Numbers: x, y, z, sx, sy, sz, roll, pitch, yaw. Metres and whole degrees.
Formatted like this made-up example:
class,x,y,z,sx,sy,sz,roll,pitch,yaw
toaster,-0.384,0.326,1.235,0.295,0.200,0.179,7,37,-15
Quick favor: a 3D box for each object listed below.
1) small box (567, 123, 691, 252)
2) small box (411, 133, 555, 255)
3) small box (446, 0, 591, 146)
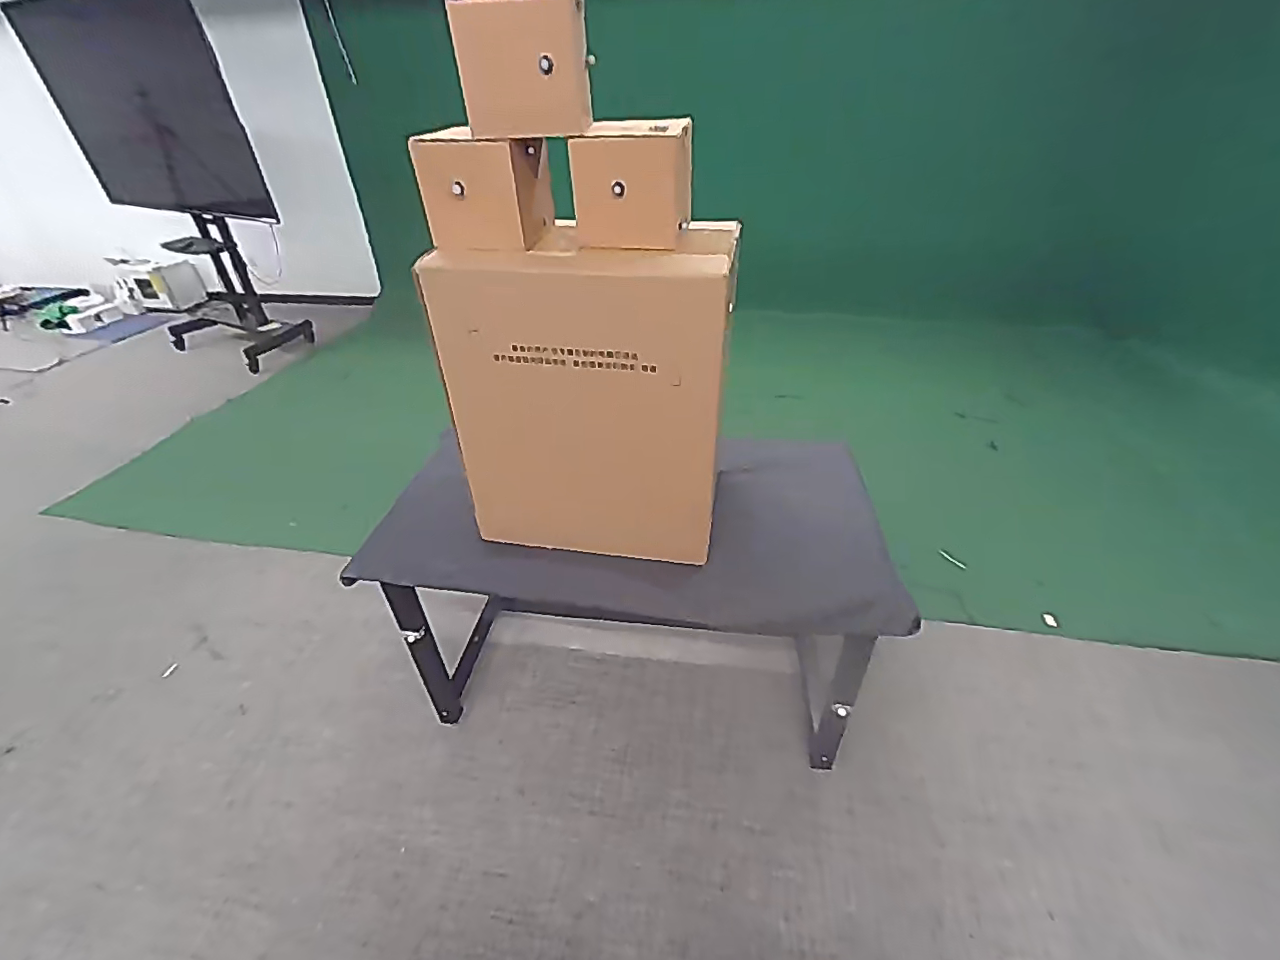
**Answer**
class,x,y,z,sx,sy,sz,roll,pitch,yaw
small box,-0.009,-0.504,0.935,0.179,0.176,0.168,5,41,12
small box,-0.266,-0.511,0.963,0.179,0.176,0.168,6,41,11
small box,-0.174,-0.633,0.849,0.179,0.176,0.168,-2,38,3
